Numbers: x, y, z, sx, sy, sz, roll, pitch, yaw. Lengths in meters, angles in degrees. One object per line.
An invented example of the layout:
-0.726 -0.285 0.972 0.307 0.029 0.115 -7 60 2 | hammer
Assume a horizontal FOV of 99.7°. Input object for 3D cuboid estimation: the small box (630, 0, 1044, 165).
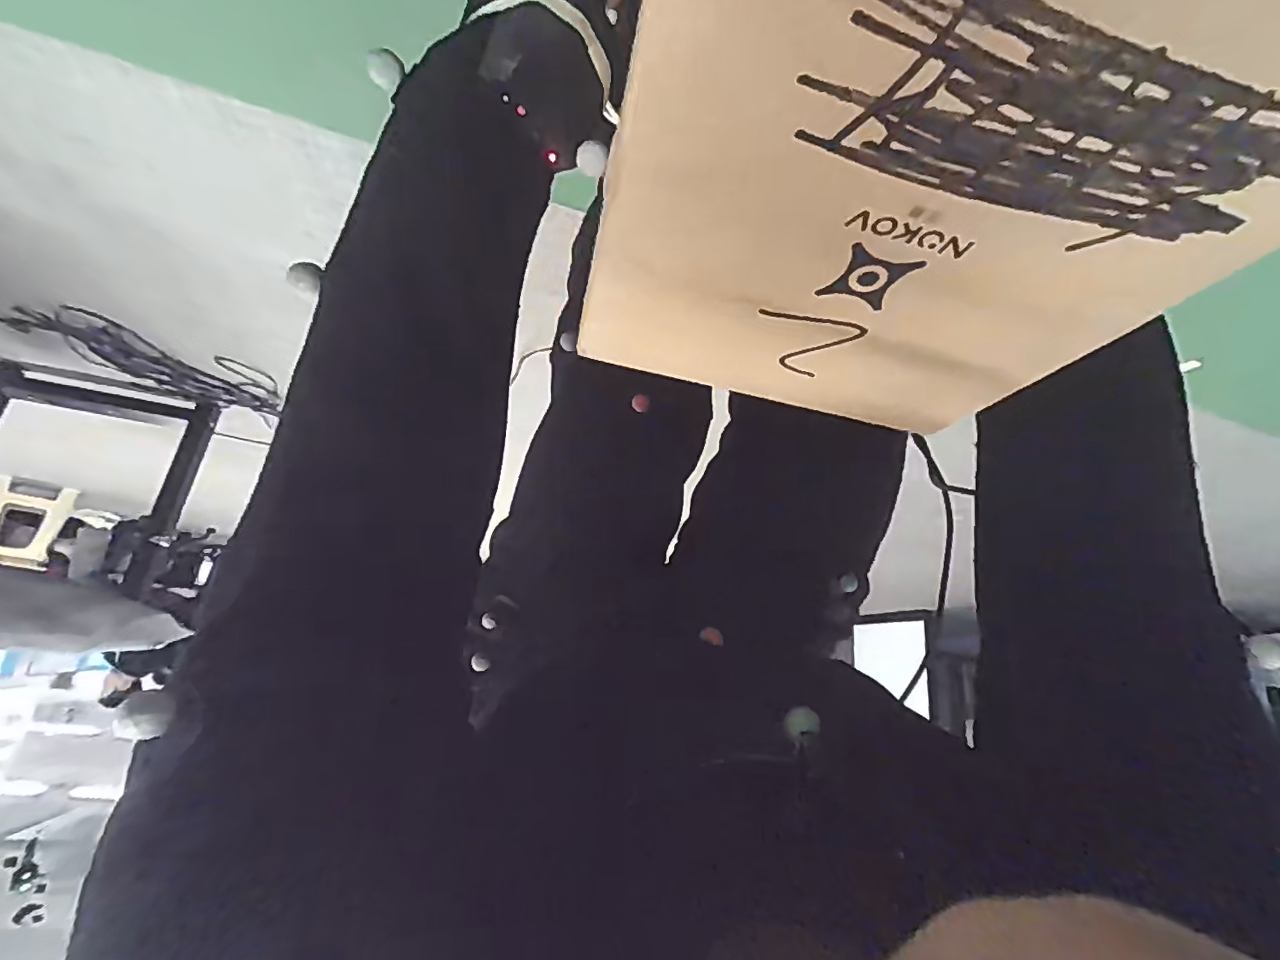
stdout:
0.102 -0.294 0.239 0.168 0.176 0.179 11 159 -10 | small box
